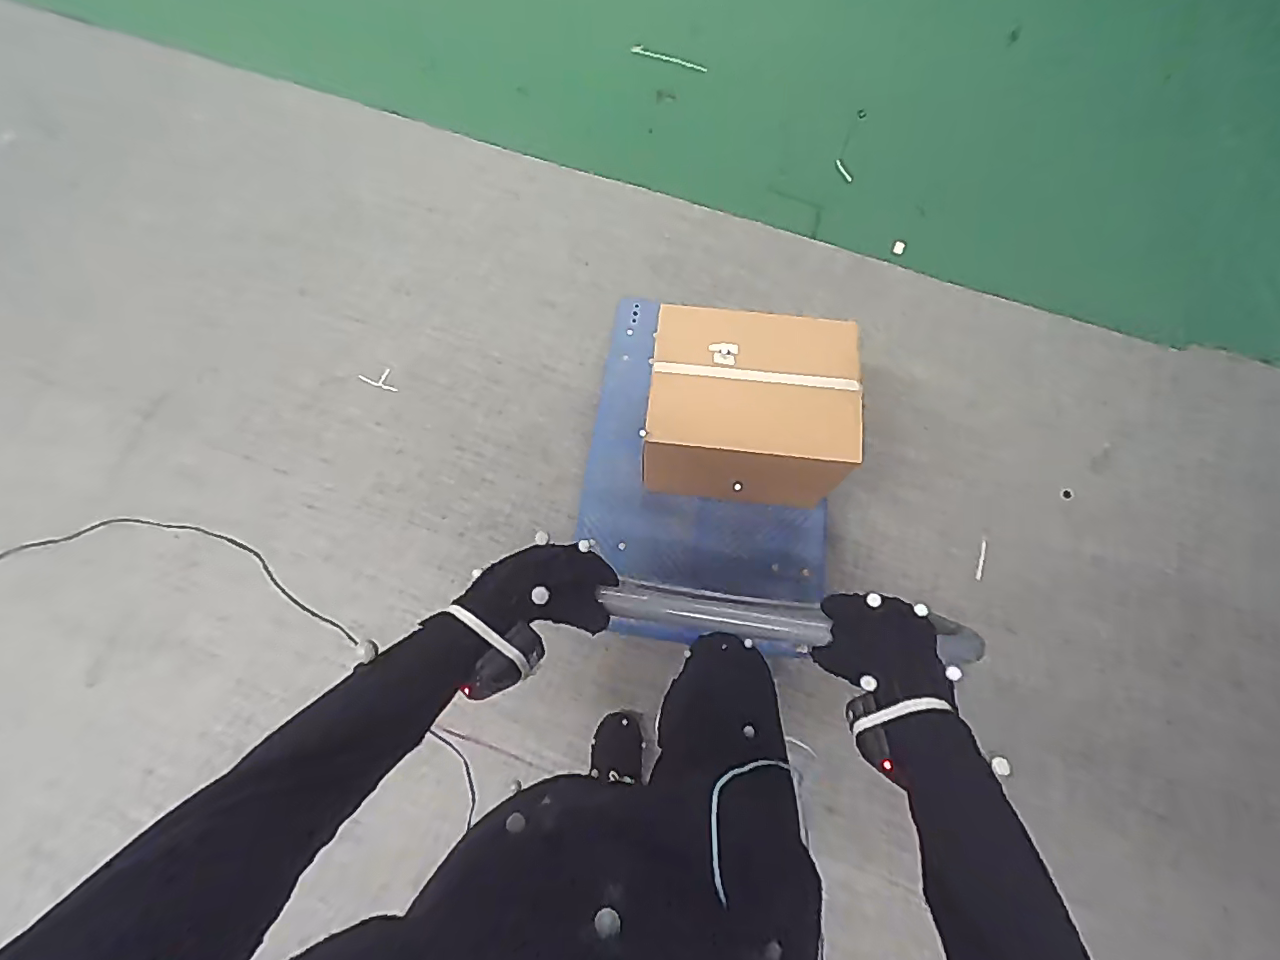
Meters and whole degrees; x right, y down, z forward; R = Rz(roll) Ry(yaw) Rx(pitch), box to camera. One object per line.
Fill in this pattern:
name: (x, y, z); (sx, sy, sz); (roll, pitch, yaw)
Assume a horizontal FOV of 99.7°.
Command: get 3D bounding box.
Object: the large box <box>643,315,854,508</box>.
large box: (0.222, -0.137, 1.207); (0.408, 0.320, 0.320); (5, 69, 3)
